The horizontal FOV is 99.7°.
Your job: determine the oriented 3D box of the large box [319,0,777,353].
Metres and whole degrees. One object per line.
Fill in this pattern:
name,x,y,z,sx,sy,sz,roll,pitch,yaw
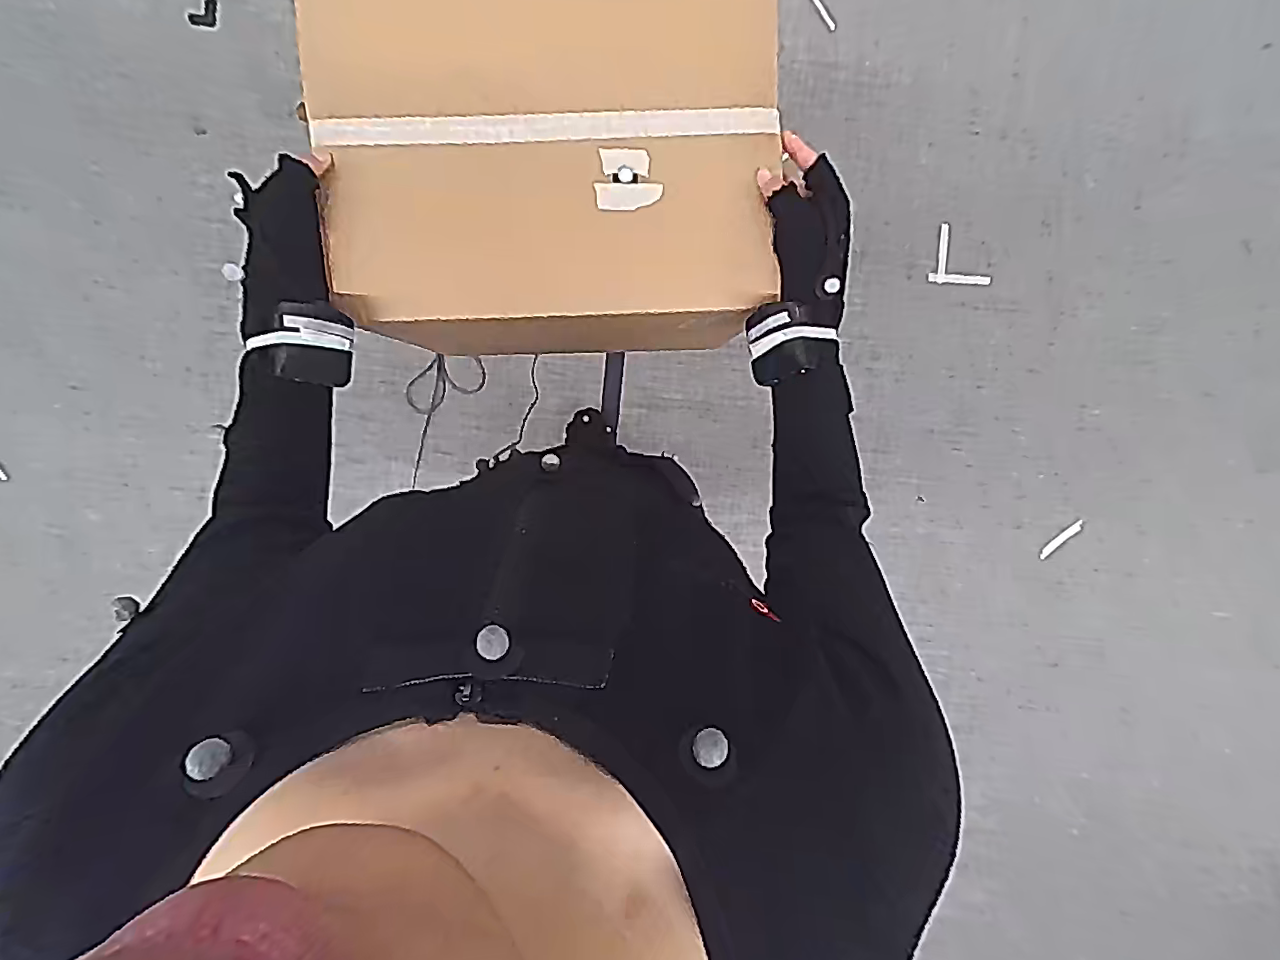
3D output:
large box,-0.082,-0.330,0.635,0.408,0.320,0.320,-2,98,-2
